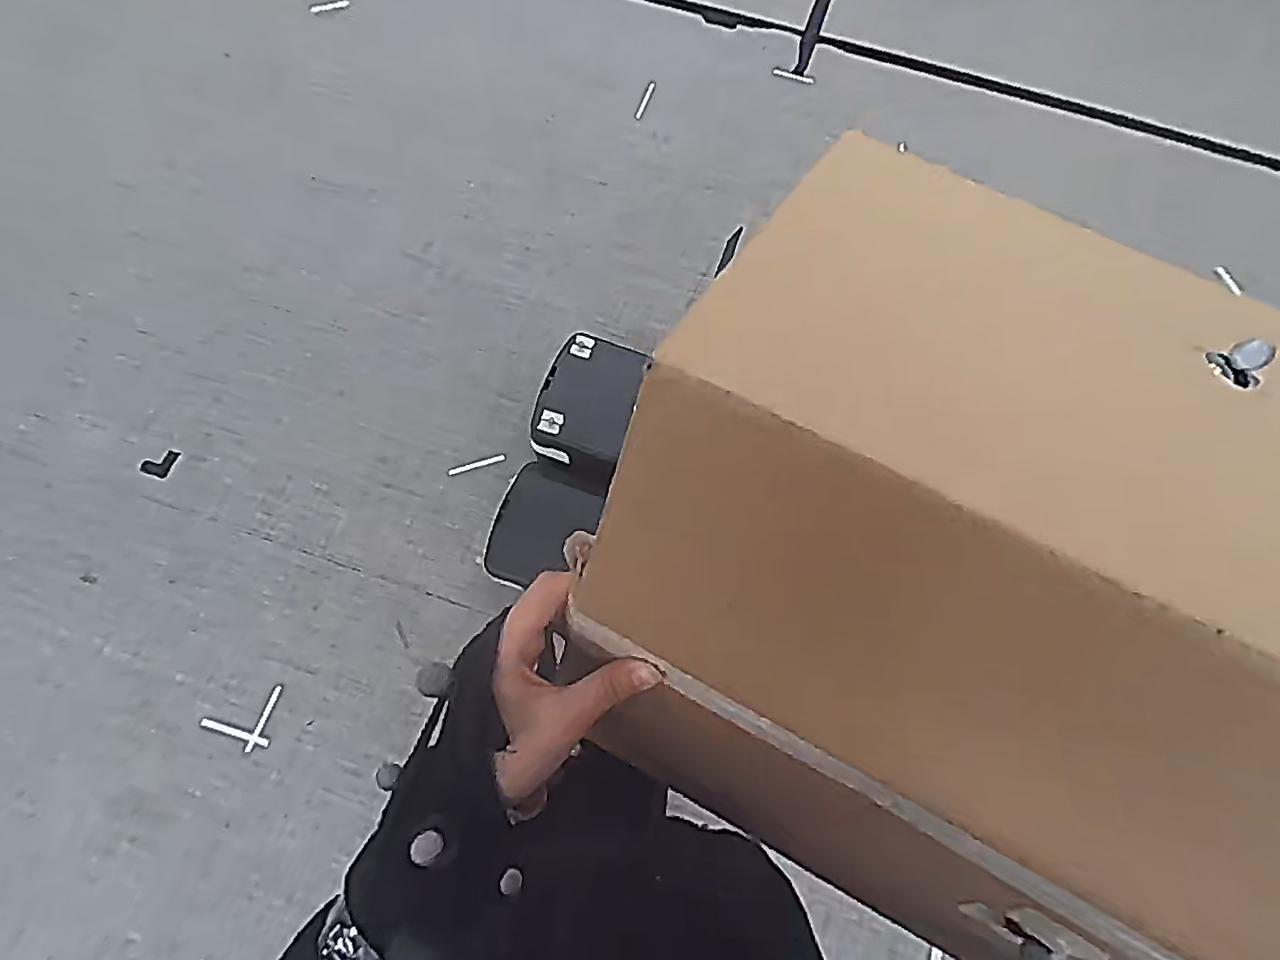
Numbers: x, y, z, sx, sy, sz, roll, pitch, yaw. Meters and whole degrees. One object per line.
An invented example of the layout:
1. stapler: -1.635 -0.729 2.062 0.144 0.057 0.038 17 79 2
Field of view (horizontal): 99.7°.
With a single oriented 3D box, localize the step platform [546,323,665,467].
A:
1. step platform: 0.131 -0.096 1.252 0.684 0.204 0.286 25 74 4
